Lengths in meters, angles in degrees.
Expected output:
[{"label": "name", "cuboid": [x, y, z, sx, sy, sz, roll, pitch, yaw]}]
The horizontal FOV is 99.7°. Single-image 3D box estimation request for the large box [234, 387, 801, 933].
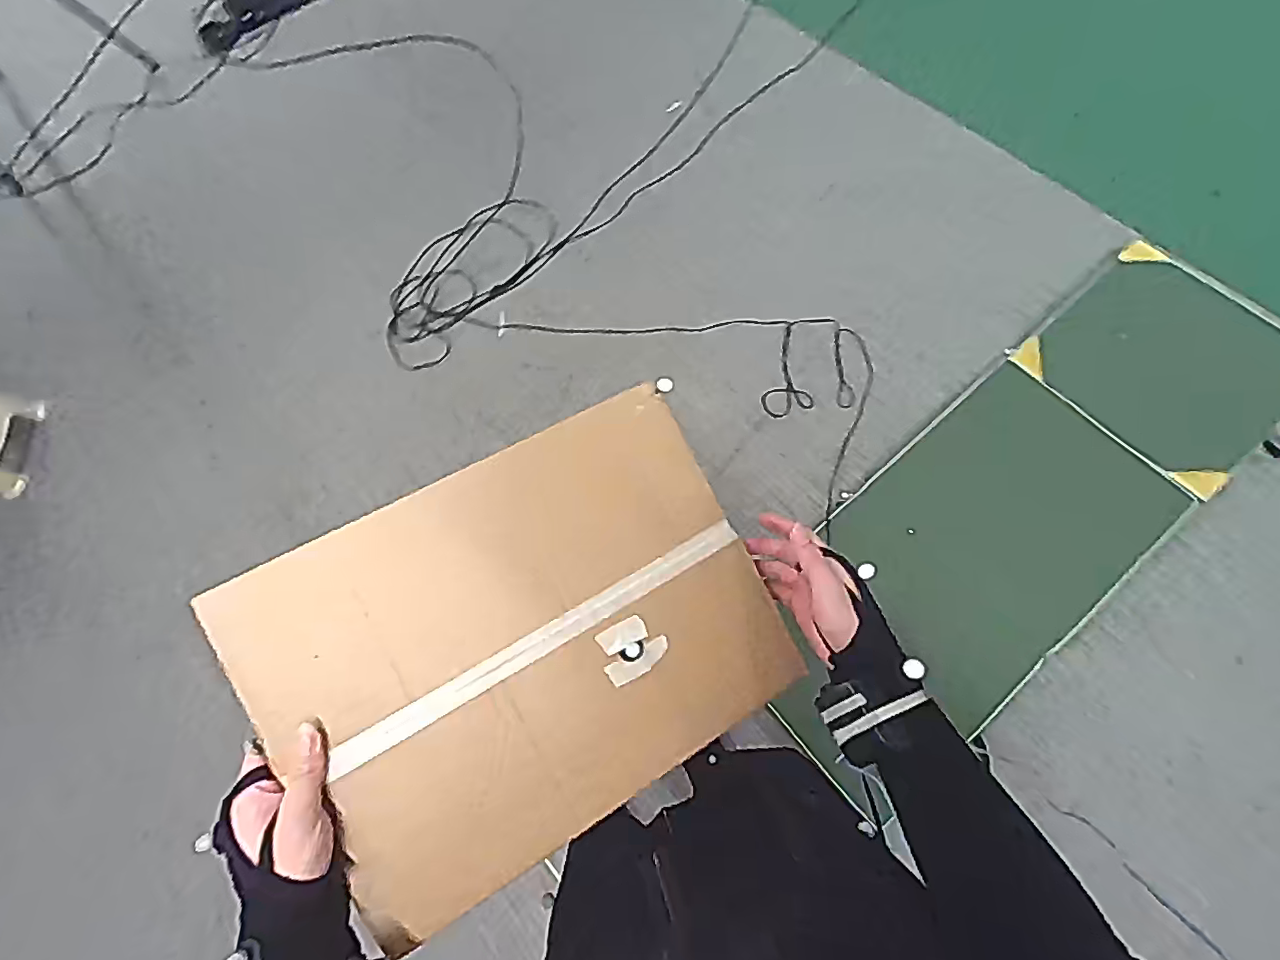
[{"label": "large box", "cuboid": [-0.115, 0.150, 0.612, 0.408, 0.320, 0.320, -27, 91, -15]}]
